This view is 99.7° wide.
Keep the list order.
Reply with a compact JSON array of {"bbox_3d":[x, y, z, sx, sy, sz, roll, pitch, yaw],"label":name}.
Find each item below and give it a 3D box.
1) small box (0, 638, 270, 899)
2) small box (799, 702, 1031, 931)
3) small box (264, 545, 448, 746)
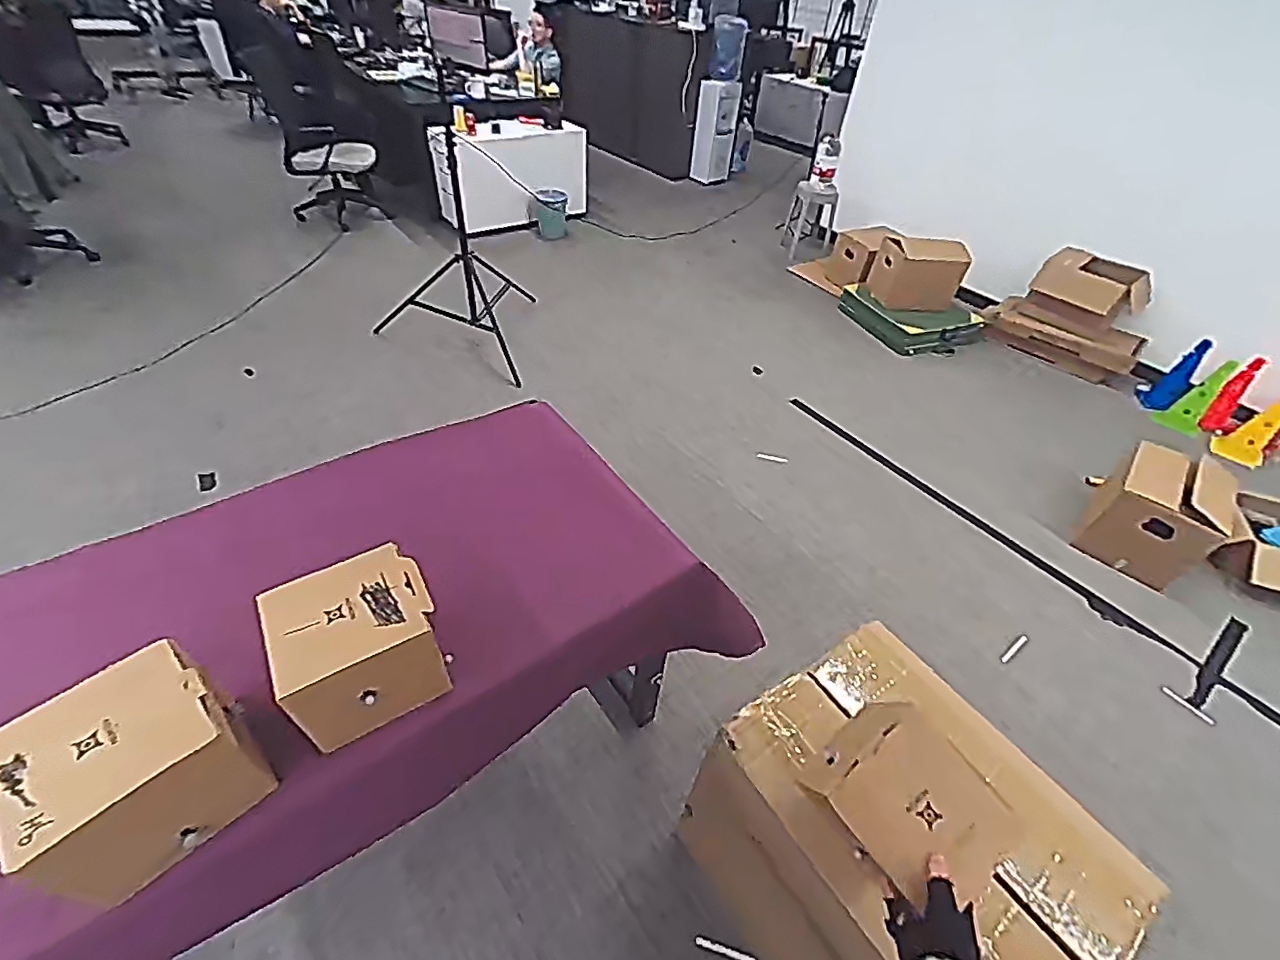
[{"bbox_3d":[-0.565,0.328,0.625,0.168,0.176,0.179,34,49,28],"label":"small box"},{"bbox_3d":[0.337,0.415,0.705,0.168,0.176,0.179,-38,73,-12],"label":"small box"},{"bbox_3d":[-0.381,0.227,0.749,0.179,0.176,0.168,-22,49,-25],"label":"small box"}]
